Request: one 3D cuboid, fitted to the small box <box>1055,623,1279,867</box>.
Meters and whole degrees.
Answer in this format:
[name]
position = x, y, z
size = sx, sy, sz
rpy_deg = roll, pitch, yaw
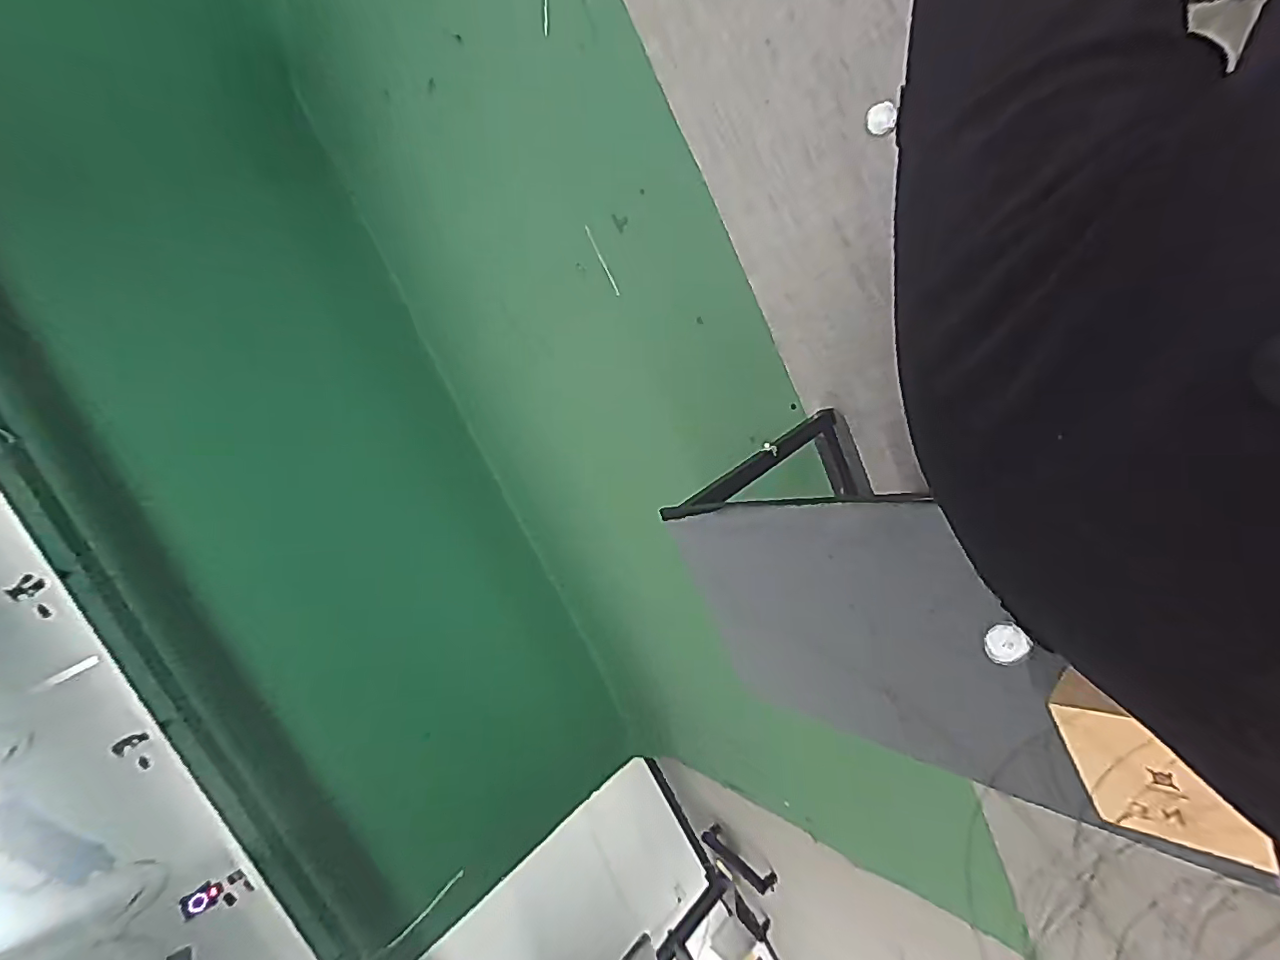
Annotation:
[small box]
position = 0.630, 0.285, 0.624
size = 0.168, 0.176, 0.179
rpy_deg = -18, 102, 60
